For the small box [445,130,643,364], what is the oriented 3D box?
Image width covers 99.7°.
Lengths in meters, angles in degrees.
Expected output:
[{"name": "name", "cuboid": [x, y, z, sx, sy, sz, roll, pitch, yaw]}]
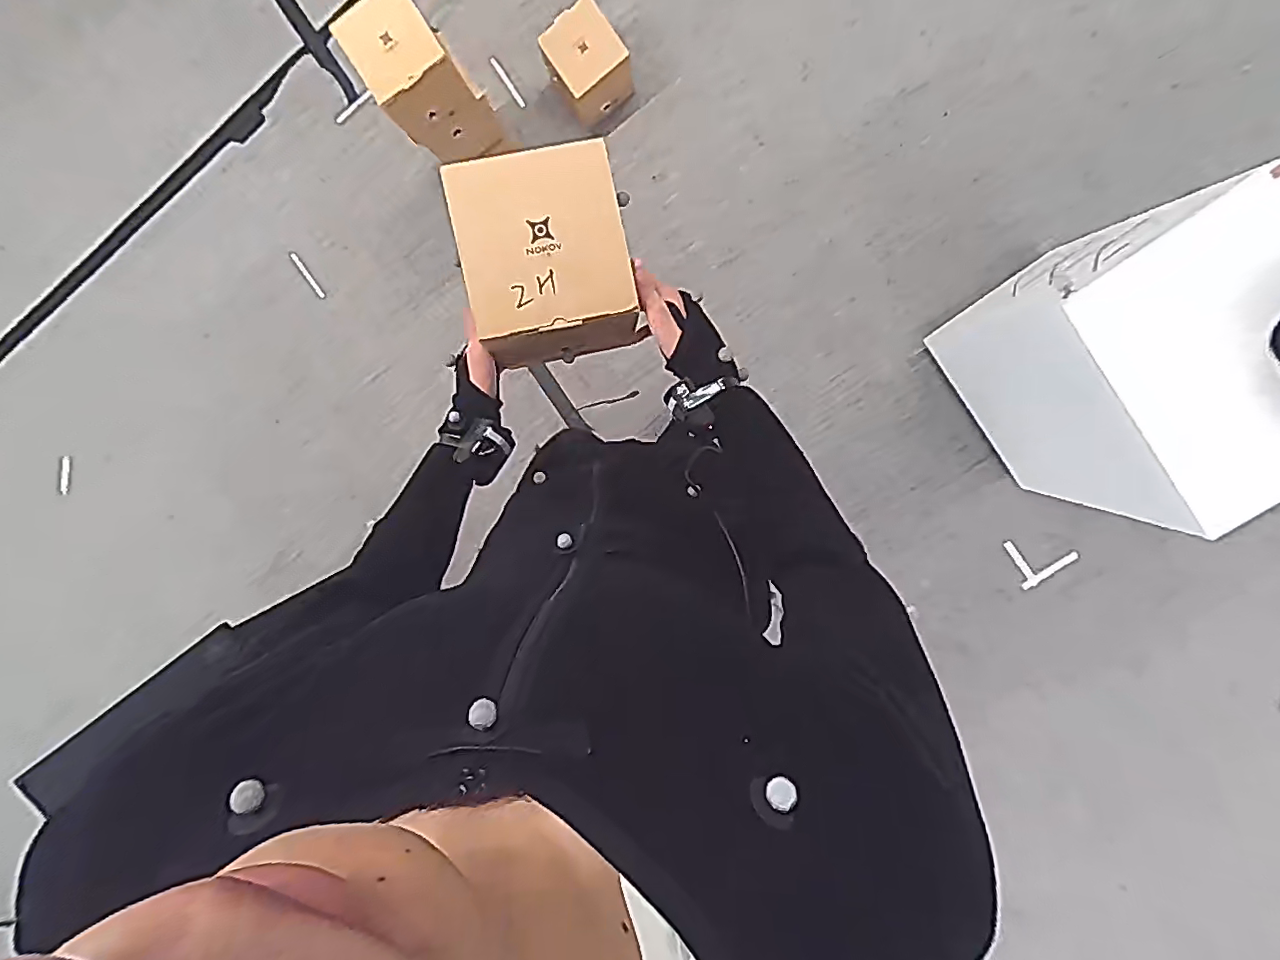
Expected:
[{"name": "small box", "cuboid": [-0.097, -0.242, 0.601, 0.168, 0.176, 0.179, -12, 92, -3]}]

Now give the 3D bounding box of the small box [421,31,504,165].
[{"name": "small box", "cuboid": [-0.452, -0.874, 1.269, 0.179, 0.176, 0.168, -34, 95, 7]}]

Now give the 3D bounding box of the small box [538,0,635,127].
[{"name": "small box", "cuboid": [-0.130, -1.063, 1.386, 0.168, 0.176, 0.179, -36, 95, 10]}]

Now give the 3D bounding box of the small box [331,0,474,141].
[{"name": "small box", "cuboid": [-0.476, -0.850, 1.110, 0.168, 0.176, 0.179, -32, 95, 8]}]
